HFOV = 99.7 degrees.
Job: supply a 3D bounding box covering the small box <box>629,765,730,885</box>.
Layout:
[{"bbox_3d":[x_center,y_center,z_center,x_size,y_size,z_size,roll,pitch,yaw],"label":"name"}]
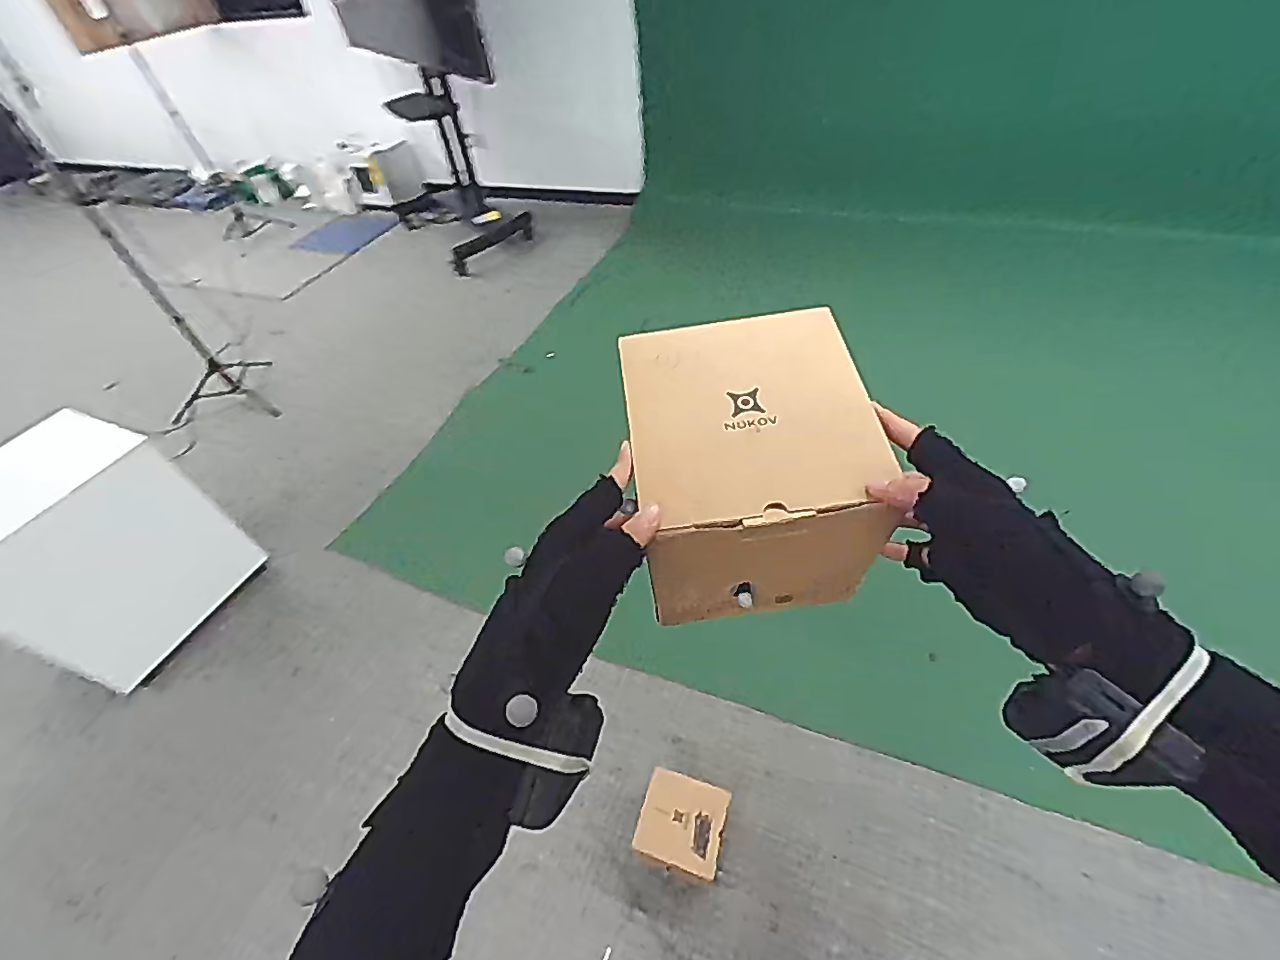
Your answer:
[{"bbox_3d":[0.091,0.761,1.187,0.179,0.176,0.168,12,50,17],"label":"small box"}]
